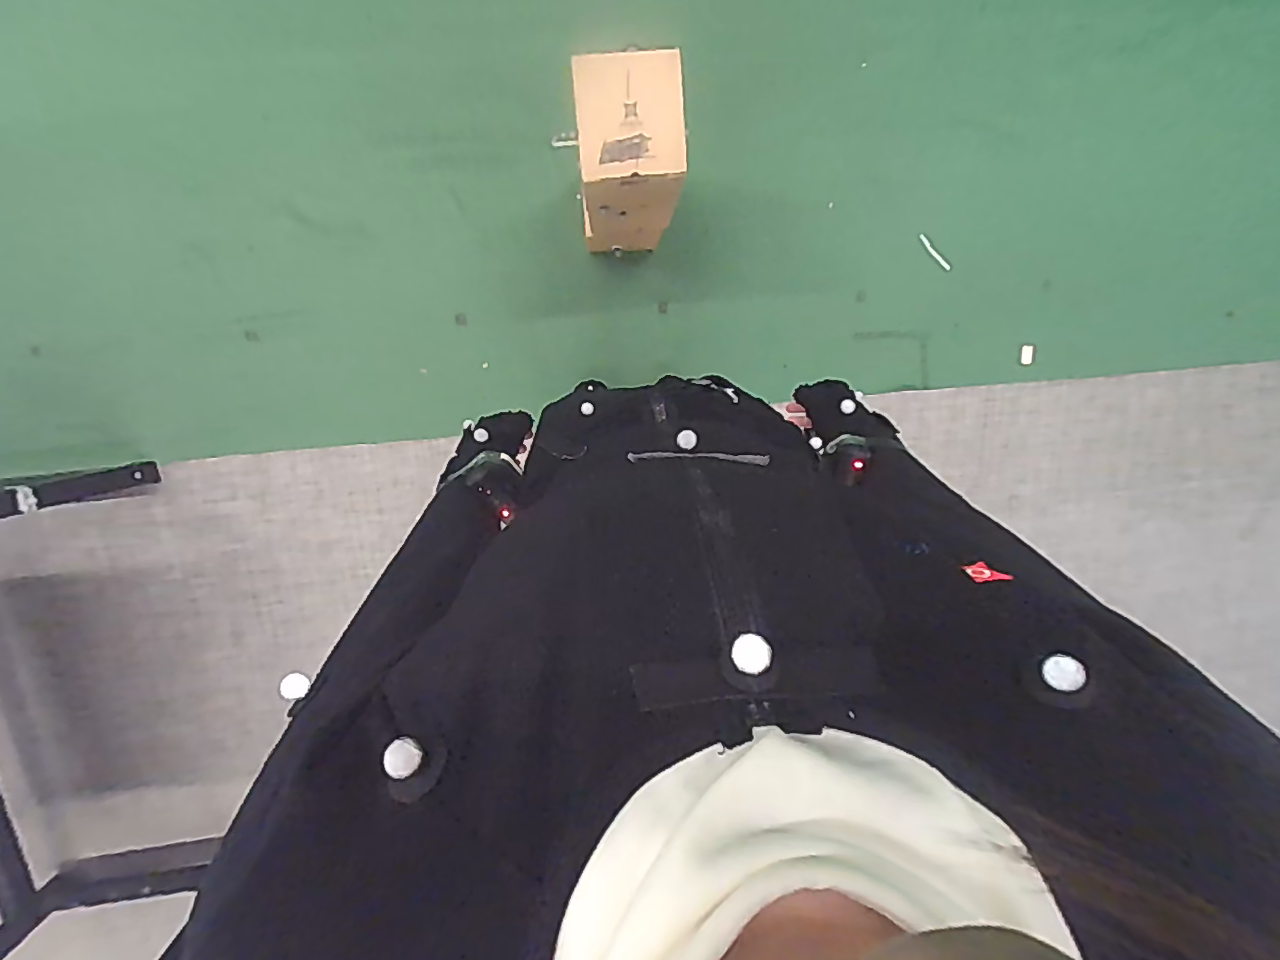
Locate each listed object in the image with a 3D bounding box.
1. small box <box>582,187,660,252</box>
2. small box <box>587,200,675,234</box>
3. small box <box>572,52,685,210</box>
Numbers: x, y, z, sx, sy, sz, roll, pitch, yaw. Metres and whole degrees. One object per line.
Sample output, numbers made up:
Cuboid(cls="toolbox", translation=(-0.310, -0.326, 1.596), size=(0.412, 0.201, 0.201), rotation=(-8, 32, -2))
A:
Cuboid(cls="small box", translation=(-0.043, -0.620, 1.205), size=(0.168, 0.176, 0.179), rotation=(-2, 102, -1))
Cuboid(cls="small box", translation=(-0.025, -0.598, 1.062), size=(0.168, 0.176, 0.179), rotation=(-5, 100, -2))
Cuboid(cls="small box", translation=(-0.018, -0.565, 0.901), size=(0.168, 0.176, 0.179), rotation=(-5, 101, -2))
